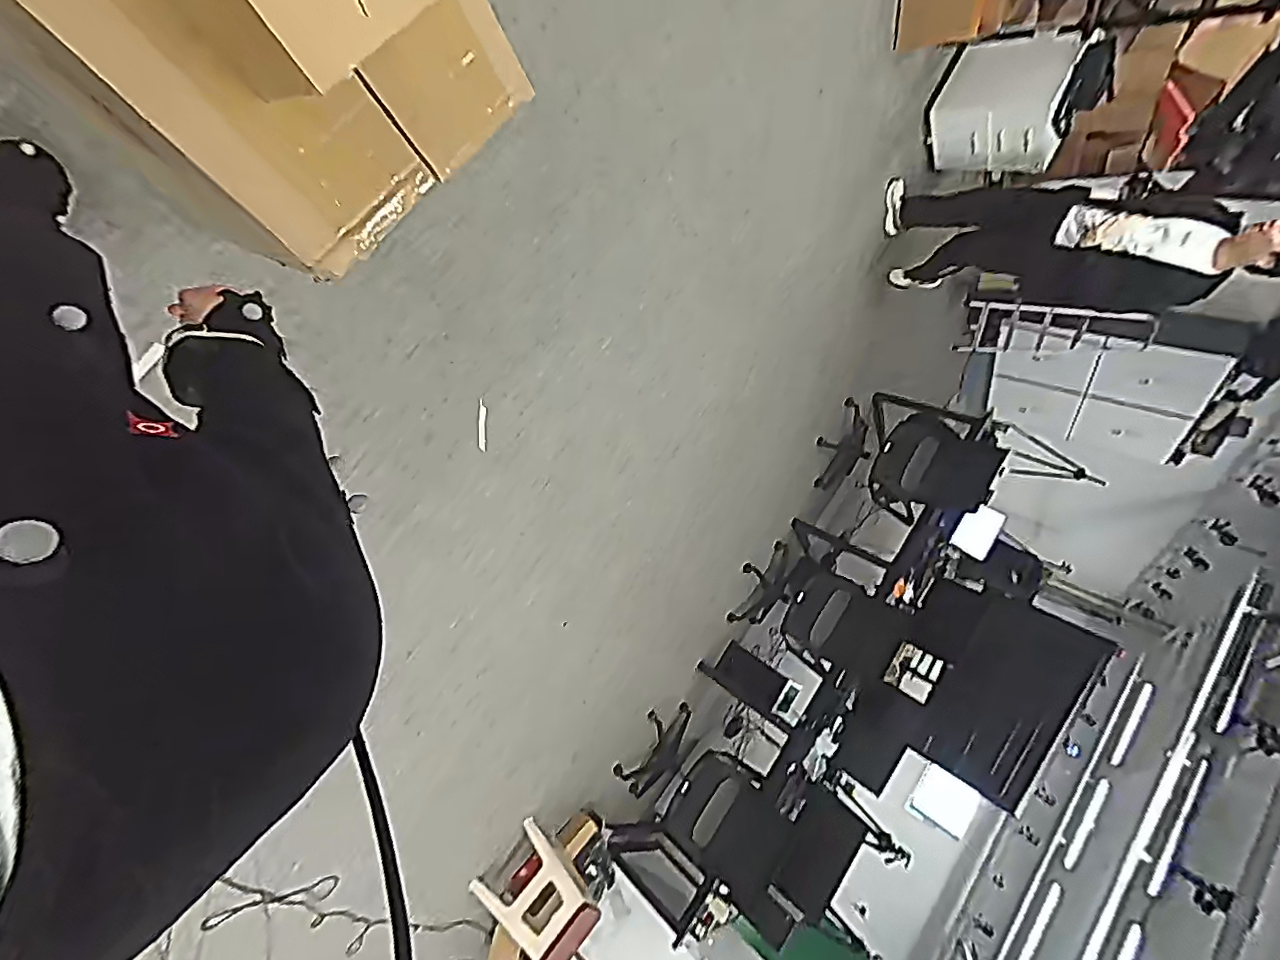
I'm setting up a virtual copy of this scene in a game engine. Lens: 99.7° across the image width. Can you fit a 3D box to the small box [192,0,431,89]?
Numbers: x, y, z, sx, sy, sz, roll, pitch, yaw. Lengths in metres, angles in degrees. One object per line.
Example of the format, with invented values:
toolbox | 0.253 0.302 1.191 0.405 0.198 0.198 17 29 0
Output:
small box | -0.318 -0.483 0.476 0.168 0.176 0.179 -52 142 -13
